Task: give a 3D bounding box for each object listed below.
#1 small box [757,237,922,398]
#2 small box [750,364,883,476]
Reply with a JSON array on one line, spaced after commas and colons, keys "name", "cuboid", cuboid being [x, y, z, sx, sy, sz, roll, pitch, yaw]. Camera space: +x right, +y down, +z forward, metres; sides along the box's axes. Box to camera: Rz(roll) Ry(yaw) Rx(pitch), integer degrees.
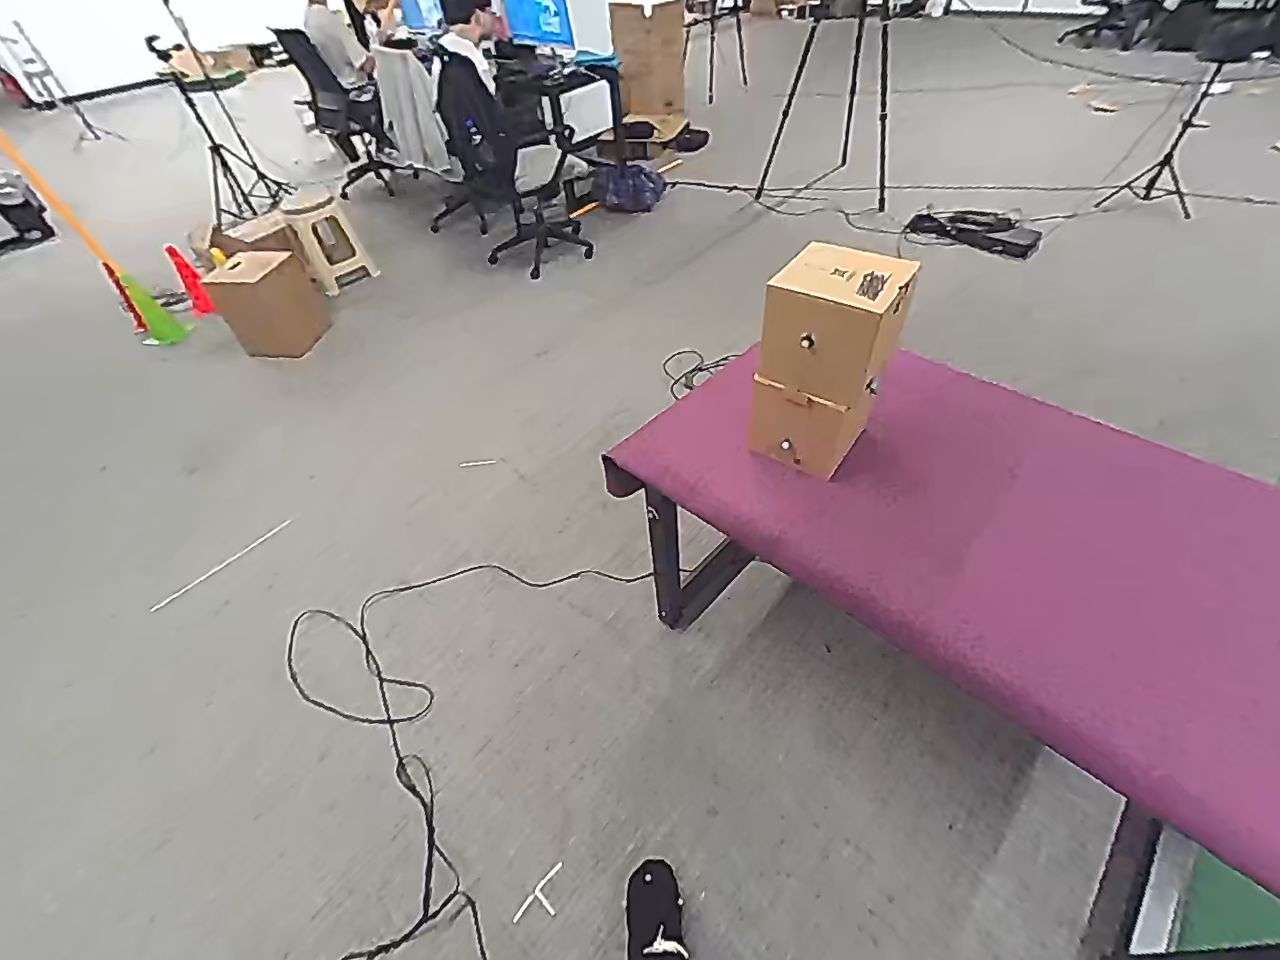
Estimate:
[{"name": "small box", "cuboid": [0.304, -0.254, 0.854, 0.179, 0.176, 0.168, 29, 55, 28]}, {"name": "small box", "cuboid": [0.311, -0.142, 0.978, 0.168, 0.176, 0.179, 26, 56, 28]}]
